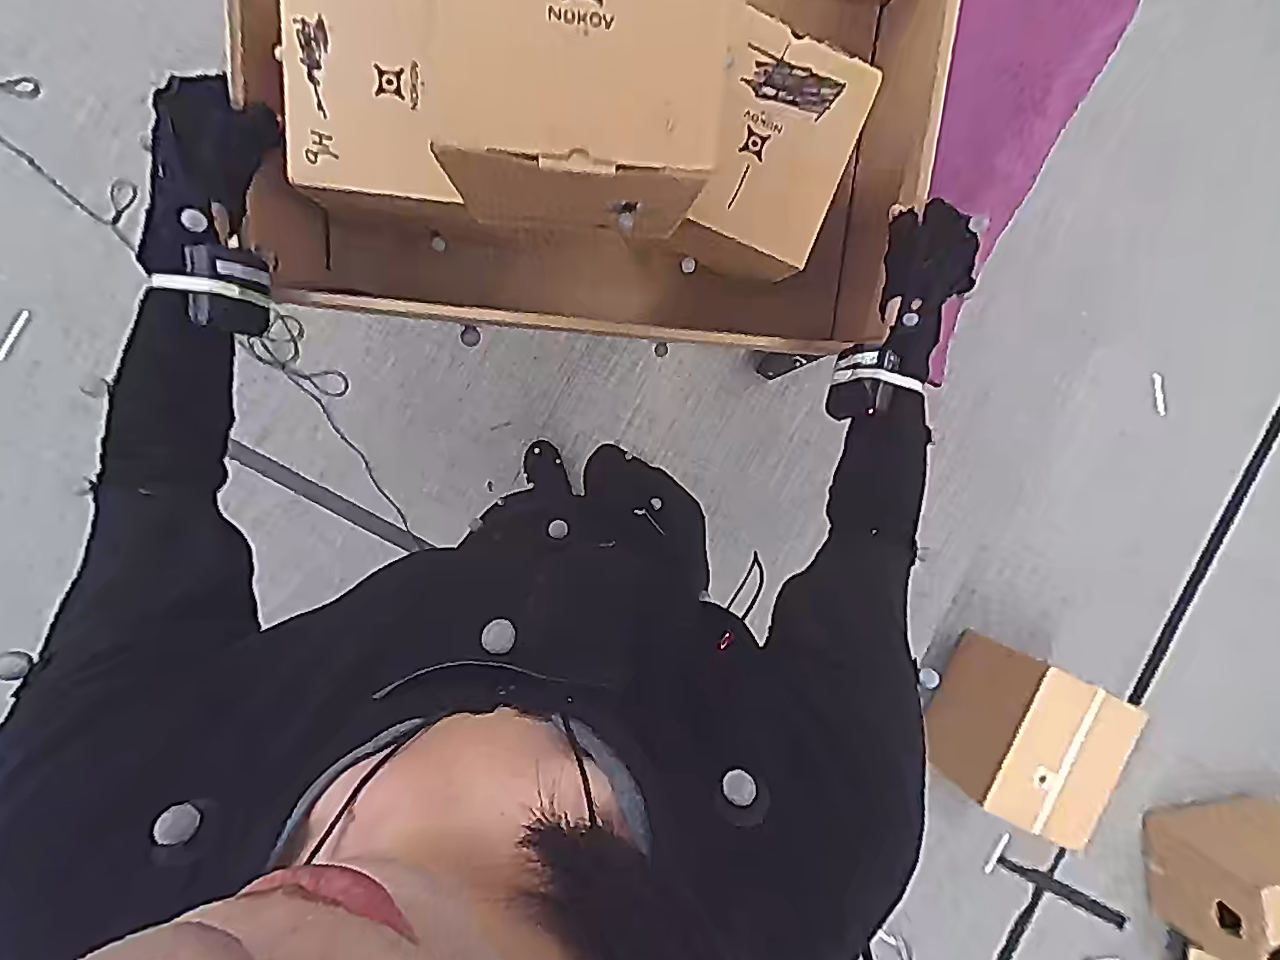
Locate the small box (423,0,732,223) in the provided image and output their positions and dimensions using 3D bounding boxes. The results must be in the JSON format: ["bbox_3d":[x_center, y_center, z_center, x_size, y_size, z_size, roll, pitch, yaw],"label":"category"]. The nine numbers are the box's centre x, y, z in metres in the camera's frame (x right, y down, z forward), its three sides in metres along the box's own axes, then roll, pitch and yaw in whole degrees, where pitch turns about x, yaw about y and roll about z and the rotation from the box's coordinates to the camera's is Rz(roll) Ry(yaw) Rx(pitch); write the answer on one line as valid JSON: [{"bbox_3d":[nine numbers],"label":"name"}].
[{"bbox_3d":[-0.039,-0.288,0.362,0.168,0.176,0.179,2,101,-8],"label":"small box"}]

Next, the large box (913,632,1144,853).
[{"bbox_3d":[1.057,0.703,1.510,0.320,0.320,0.408,26,90,-5],"label":"large box"}]
